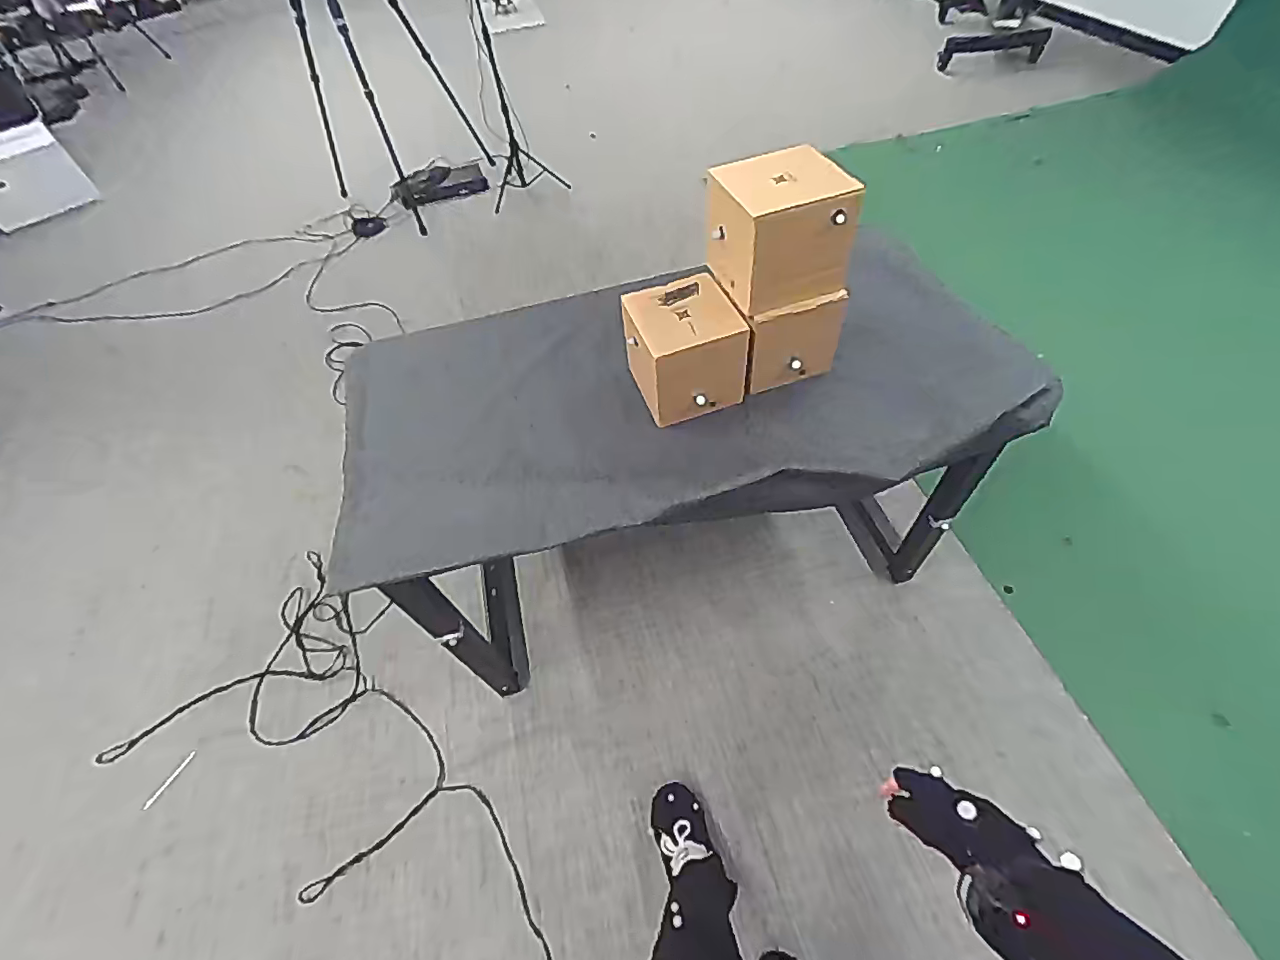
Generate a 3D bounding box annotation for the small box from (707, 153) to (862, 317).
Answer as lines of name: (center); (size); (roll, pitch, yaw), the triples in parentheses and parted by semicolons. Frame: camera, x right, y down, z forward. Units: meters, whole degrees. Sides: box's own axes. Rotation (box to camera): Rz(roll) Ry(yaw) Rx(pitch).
small box: (0.218, -0.387, 0.865); (0.179, 0.176, 0.168); (-18, 53, -8)
